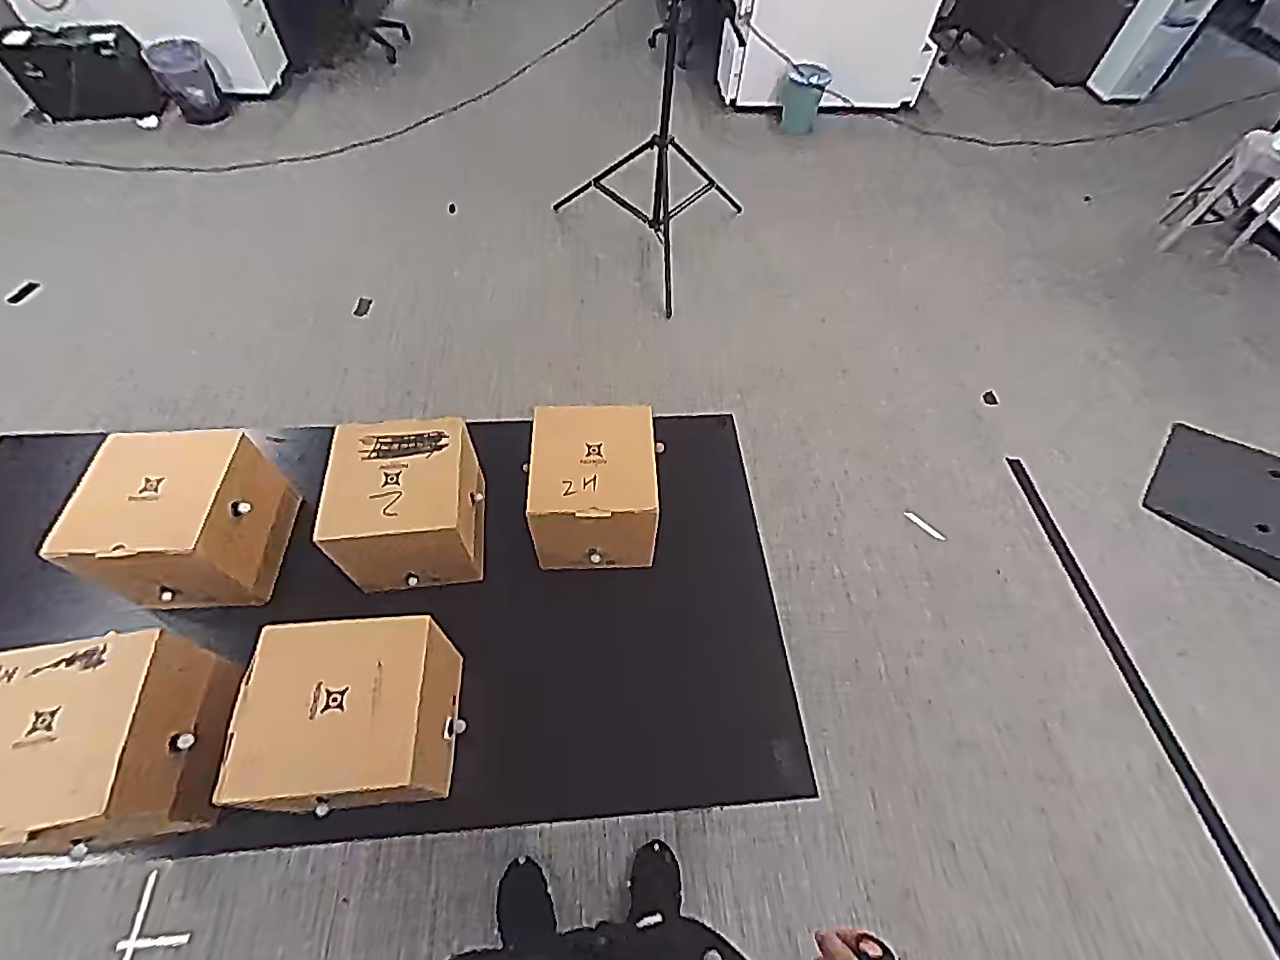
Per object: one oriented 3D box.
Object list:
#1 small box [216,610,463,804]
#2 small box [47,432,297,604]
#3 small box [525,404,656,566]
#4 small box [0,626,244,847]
[{"bbox_3d":[-0.312,0.259,0.609,0.179,0.176,0.168,-3,57,-6],"label":"small box"},{"bbox_3d":[-0.600,0.053,0.728,0.168,0.176,0.179,-1,57,-4],"label":"small box"},{"bbox_3d":[-0.068,0.010,0.784,0.168,0.176,0.179,-1,57,-3],"label":"small box"},{"bbox_3d":[-0.568,0.278,0.580,0.168,0.176,0.179,-8,58,-8],"label":"small box"}]
